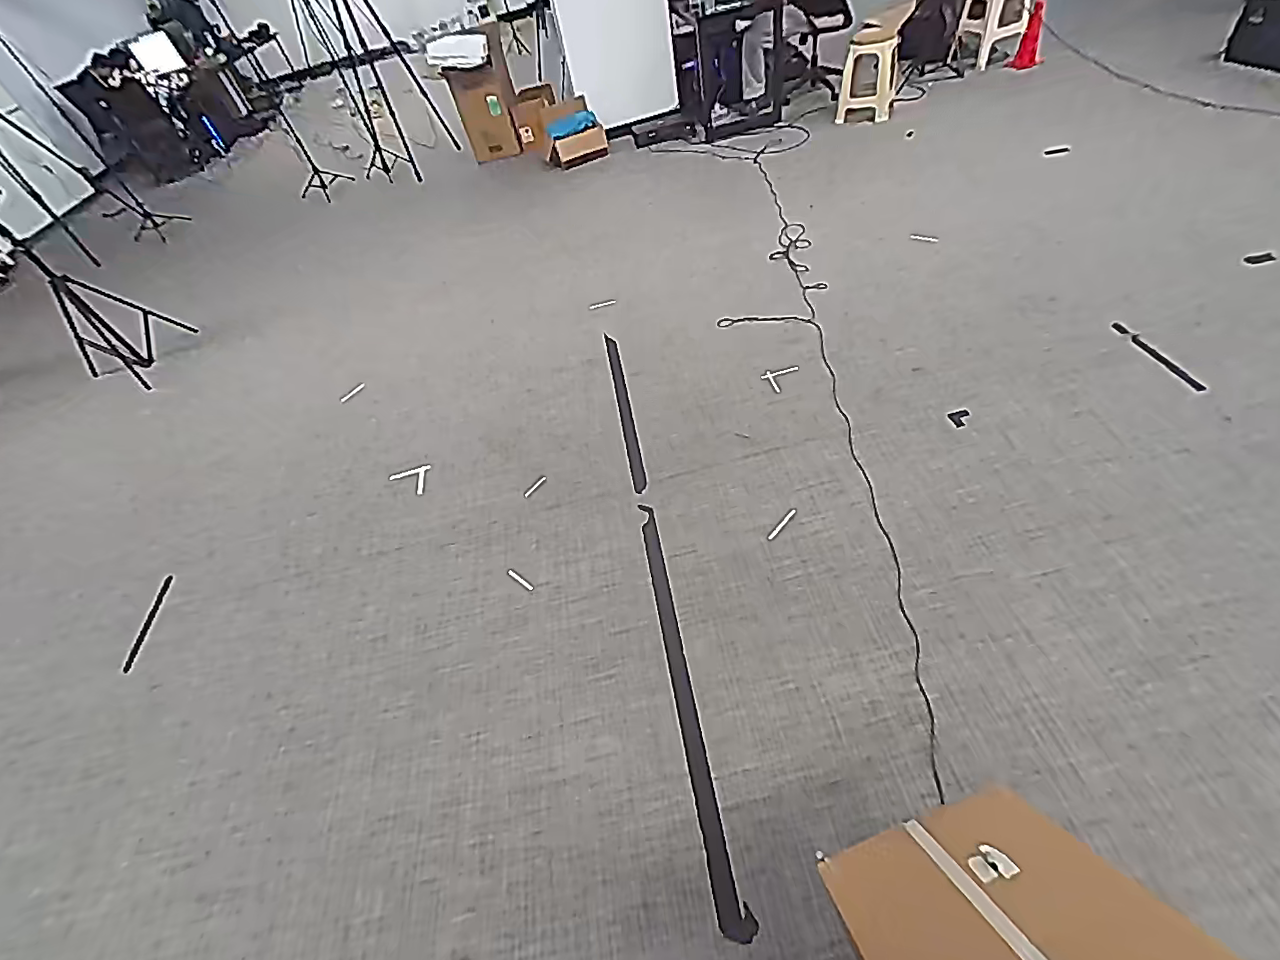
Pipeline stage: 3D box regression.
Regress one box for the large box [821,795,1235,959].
[{"bbox_3d":[0.474,0.660,0.619,0.320,0.408,0.320,-20,85,-3],"label":"large box"}]
